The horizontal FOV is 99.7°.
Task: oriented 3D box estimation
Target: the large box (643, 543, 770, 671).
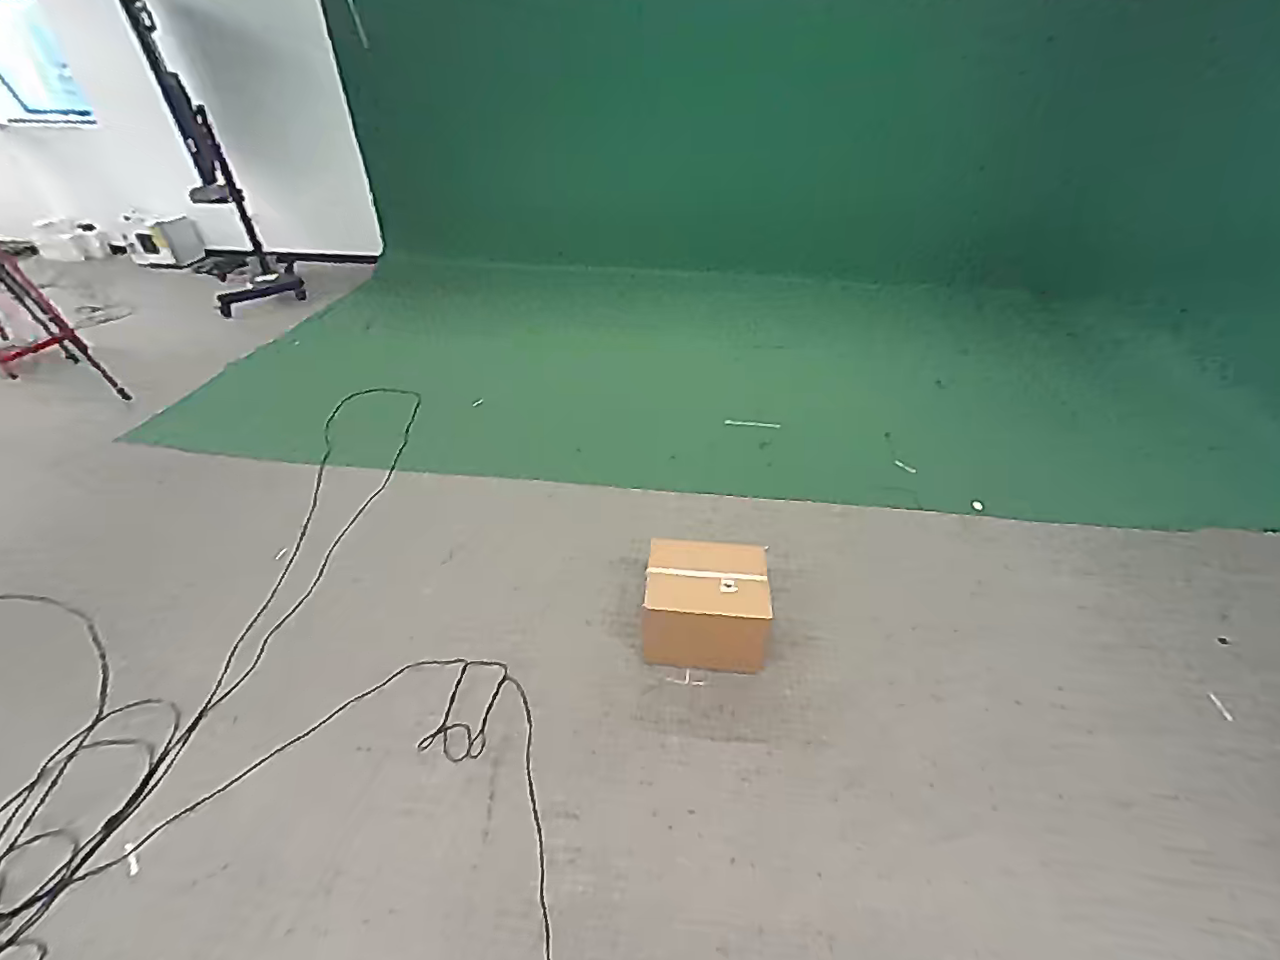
[{"bbox_3d":[0.217,0.446,1.906,0.408,0.320,0.320,3,38,3],"label":"large box"}]
